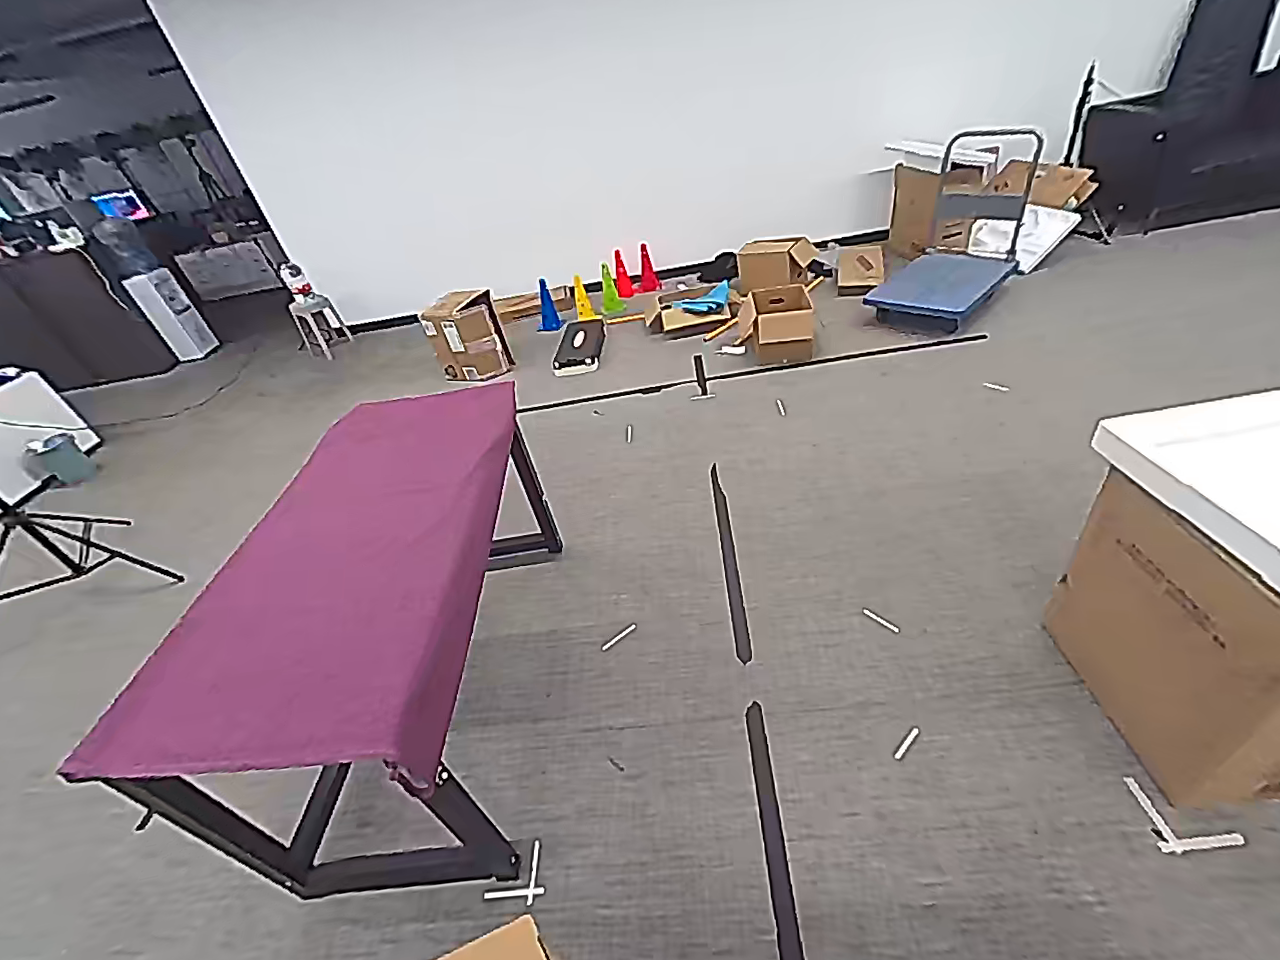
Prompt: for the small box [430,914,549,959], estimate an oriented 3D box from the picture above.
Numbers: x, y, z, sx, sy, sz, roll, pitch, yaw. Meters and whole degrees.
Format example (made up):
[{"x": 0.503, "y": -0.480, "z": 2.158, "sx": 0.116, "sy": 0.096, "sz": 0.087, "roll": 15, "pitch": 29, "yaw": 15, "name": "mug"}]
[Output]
[{"x": -0.179, "y": 0.635, "z": 0.575, "sx": 0.179, "sy": 0.176, "sz": 0.168, "roll": 3, "pitch": 19, "yaw": -38, "name": "small box"}]
